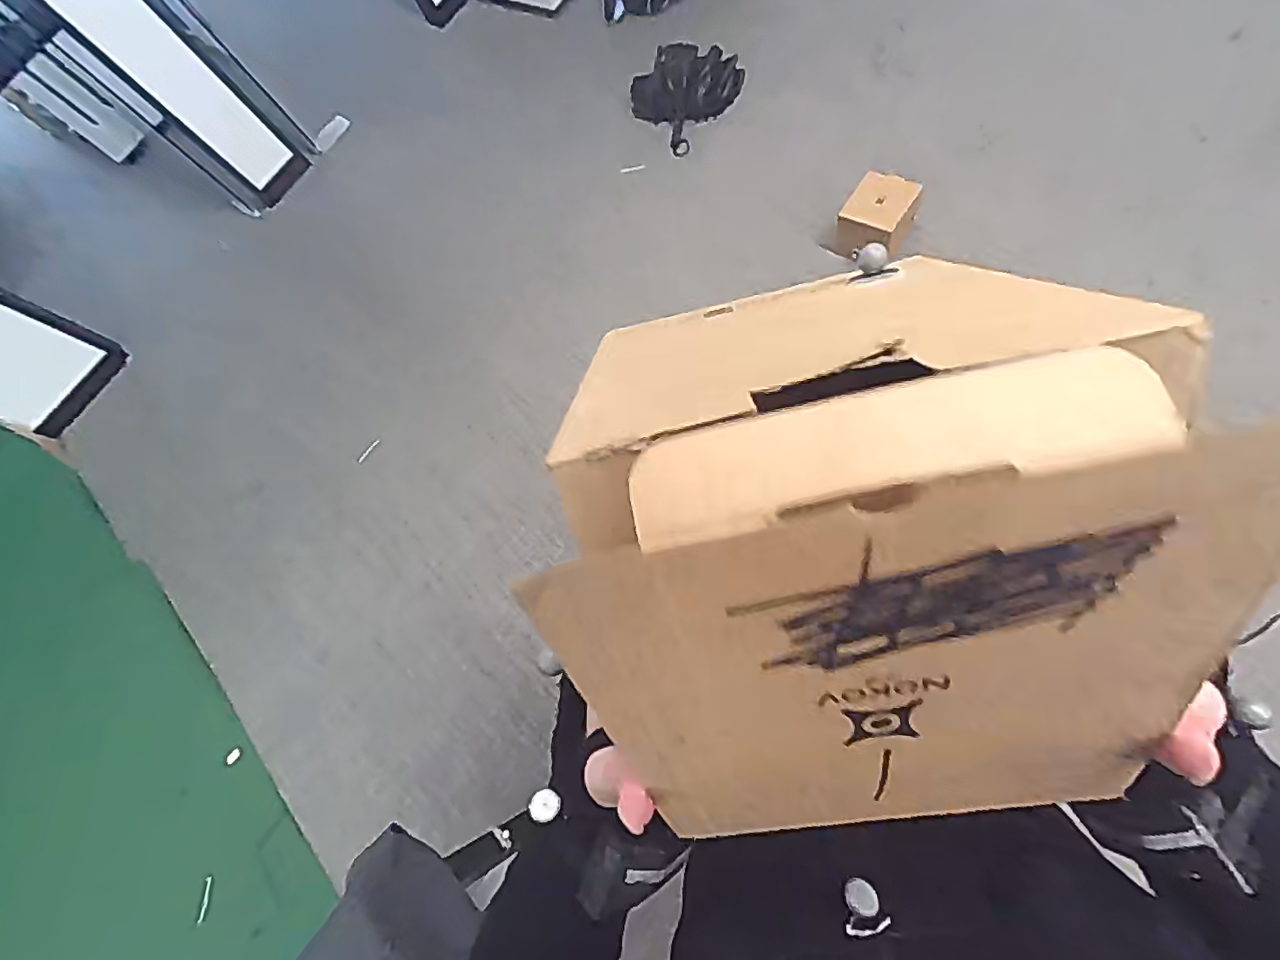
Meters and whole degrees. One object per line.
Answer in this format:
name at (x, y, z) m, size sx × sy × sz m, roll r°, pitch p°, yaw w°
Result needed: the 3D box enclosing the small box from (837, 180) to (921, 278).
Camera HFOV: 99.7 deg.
small box at (0.700, -0.741, 1.607) m, size 0.168 × 0.176 × 0.179 m, roll 31°, pitch 83°, yaw 24°
